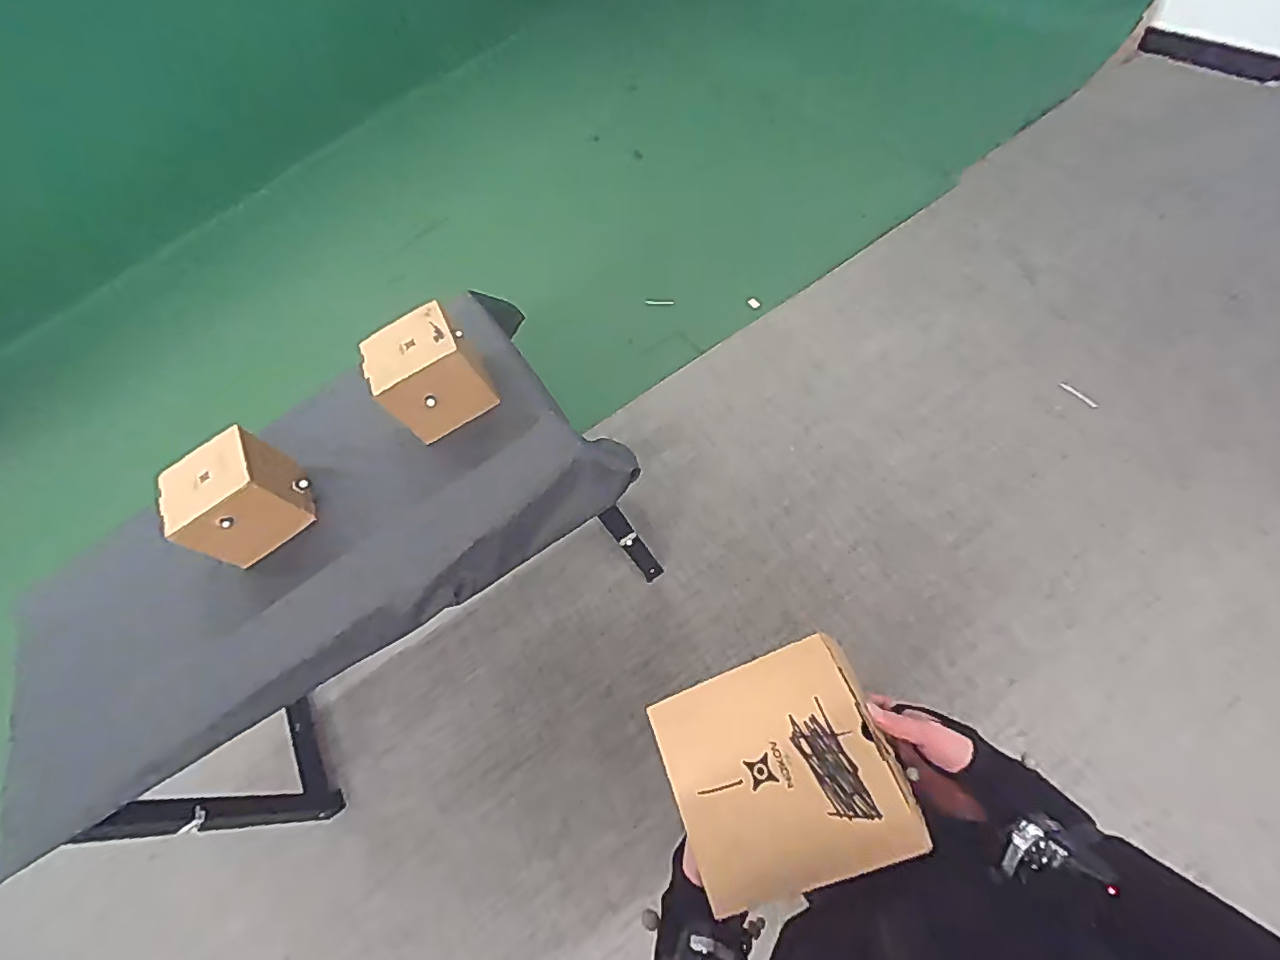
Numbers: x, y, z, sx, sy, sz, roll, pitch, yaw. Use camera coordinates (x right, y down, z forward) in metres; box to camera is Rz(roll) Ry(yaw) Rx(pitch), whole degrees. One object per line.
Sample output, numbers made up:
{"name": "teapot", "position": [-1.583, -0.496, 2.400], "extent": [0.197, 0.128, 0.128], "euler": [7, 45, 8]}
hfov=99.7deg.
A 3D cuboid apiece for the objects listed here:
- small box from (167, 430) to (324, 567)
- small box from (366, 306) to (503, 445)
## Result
{"name": "small box", "position": [-0.767, 0.043, 1.059], "extent": [0.179, 0.176, 0.168], "euler": [-35, 59, -5]}
{"name": "small box", "position": [-0.406, -0.201, 1.079], "extent": [0.179, 0.176, 0.168], "euler": [-31, 58, 0]}
